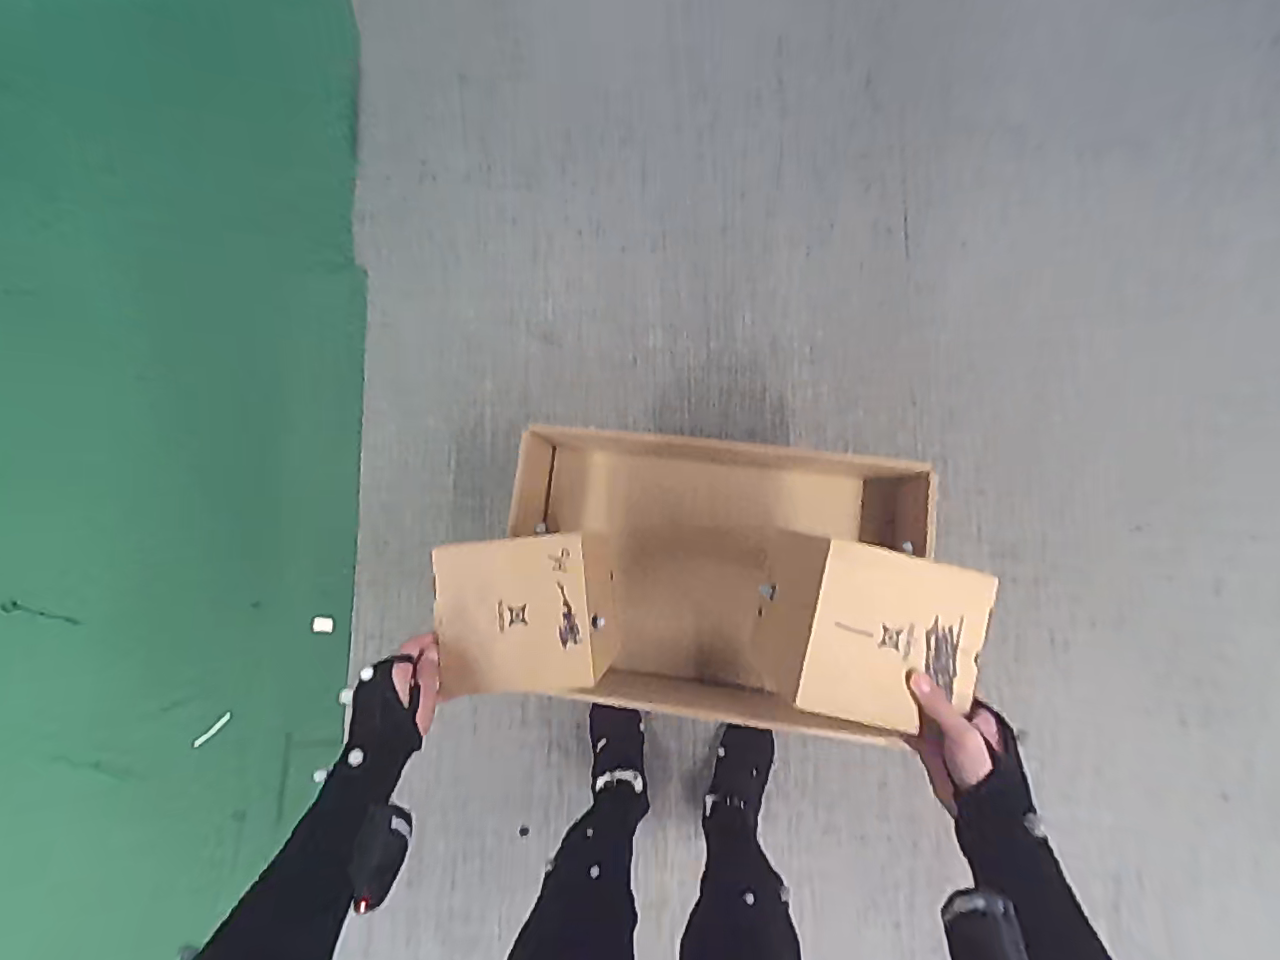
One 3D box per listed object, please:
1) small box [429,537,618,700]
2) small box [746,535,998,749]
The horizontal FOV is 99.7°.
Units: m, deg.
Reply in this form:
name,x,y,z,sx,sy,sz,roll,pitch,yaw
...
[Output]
name,x,y,z,sx,sy,sz,roll,pitch,yaw
small box,-0.134,0.160,0.663,0.179,0.176,0.168,-7,83,8
small box,0.235,0.158,0.587,0.179,0.176,0.168,14,86,-3
